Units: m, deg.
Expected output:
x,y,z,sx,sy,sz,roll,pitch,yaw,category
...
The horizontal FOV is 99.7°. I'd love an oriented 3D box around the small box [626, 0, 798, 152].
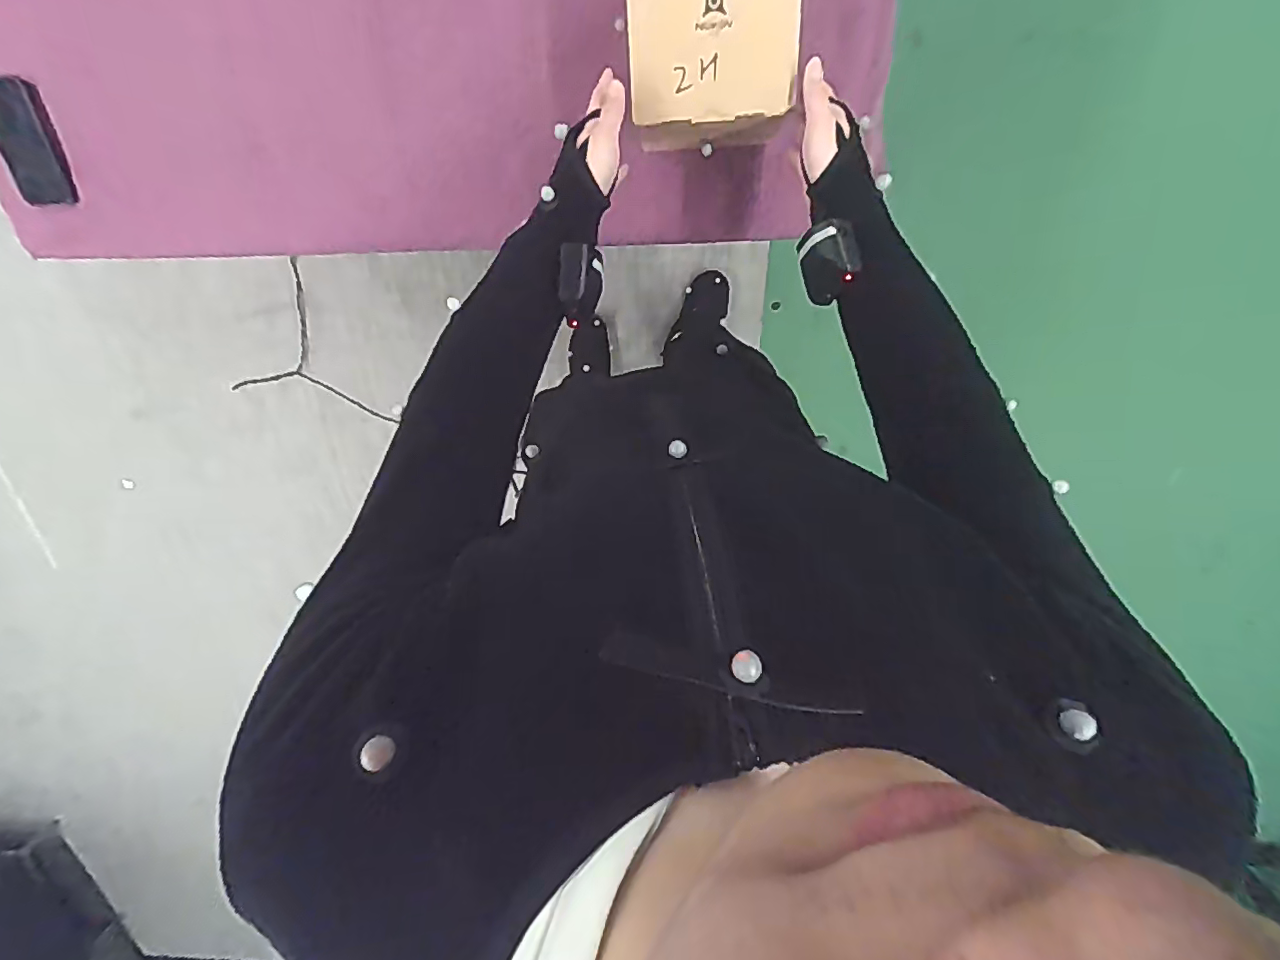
x,y,z,sx,sy,sz,roll,pitch,yaw,category
0.072,-0.473,0.586,0.168,0.176,0.179,0,113,5,small box
